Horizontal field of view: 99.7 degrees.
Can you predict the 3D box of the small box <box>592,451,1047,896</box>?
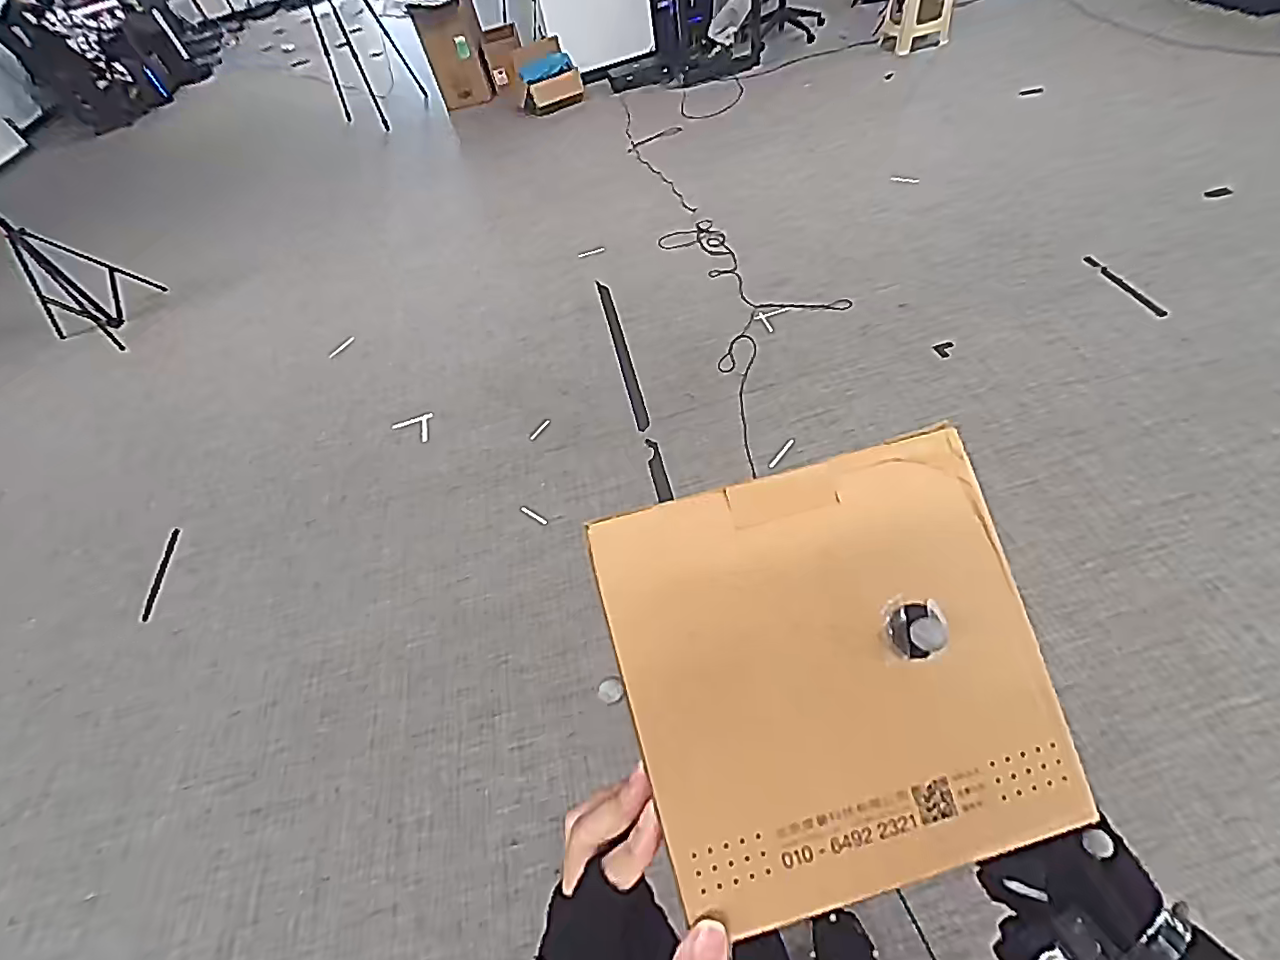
[{"bbox_3d":[0.079,0.098,0.313,0.168,0.179,0.176,-15,82,-2],"label":"small box"}]
